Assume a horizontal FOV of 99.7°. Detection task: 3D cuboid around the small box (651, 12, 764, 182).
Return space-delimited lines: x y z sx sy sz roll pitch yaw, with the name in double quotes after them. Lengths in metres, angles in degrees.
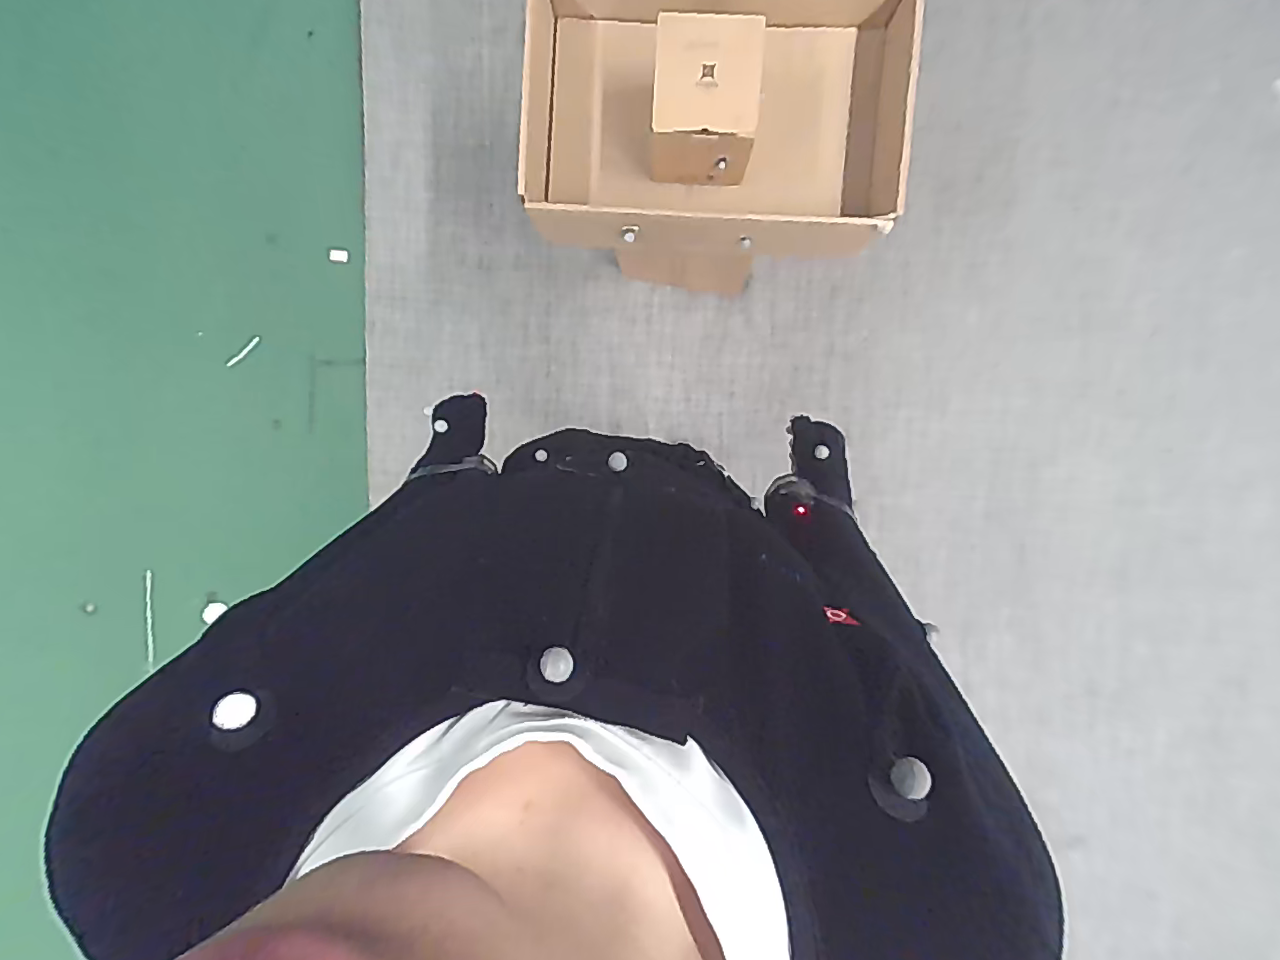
0.106 -0.628 0.908 0.168 0.176 0.179 2 92 1 "small box"
